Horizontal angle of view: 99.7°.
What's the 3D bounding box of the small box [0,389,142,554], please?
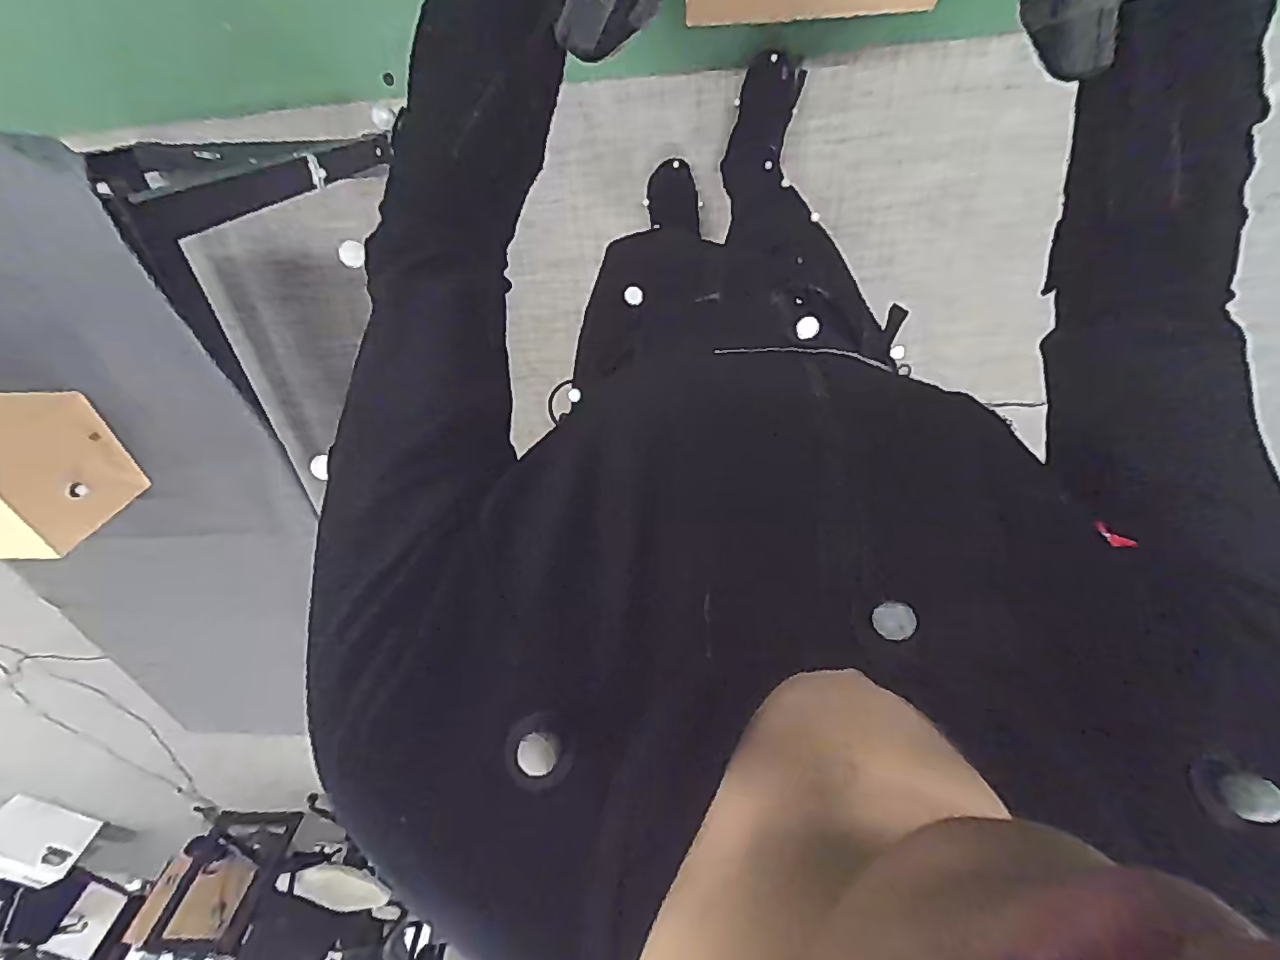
[{"bbox_3d":[-0.855,-0.016,0.746,0.179,0.176,0.168,0,129,5],"label":"small box"}]
